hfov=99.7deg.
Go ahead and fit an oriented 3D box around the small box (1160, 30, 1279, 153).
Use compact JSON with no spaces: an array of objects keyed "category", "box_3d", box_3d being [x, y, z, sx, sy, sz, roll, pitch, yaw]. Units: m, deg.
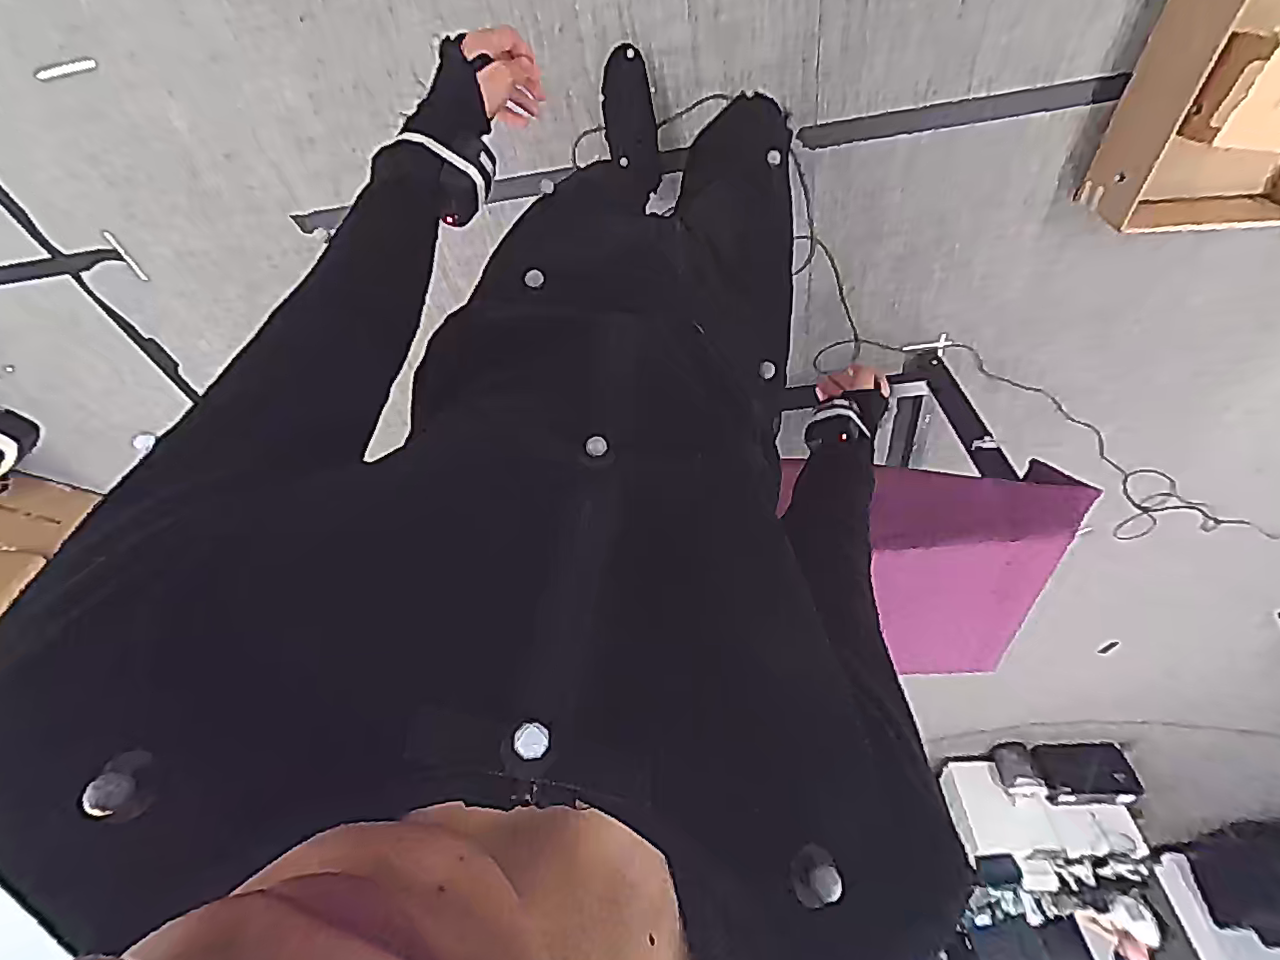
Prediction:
[{"category":"small box","box_3d":[1.190,-0.754,1.048,0.179,0.176,0.168,4,135,-1]}]
